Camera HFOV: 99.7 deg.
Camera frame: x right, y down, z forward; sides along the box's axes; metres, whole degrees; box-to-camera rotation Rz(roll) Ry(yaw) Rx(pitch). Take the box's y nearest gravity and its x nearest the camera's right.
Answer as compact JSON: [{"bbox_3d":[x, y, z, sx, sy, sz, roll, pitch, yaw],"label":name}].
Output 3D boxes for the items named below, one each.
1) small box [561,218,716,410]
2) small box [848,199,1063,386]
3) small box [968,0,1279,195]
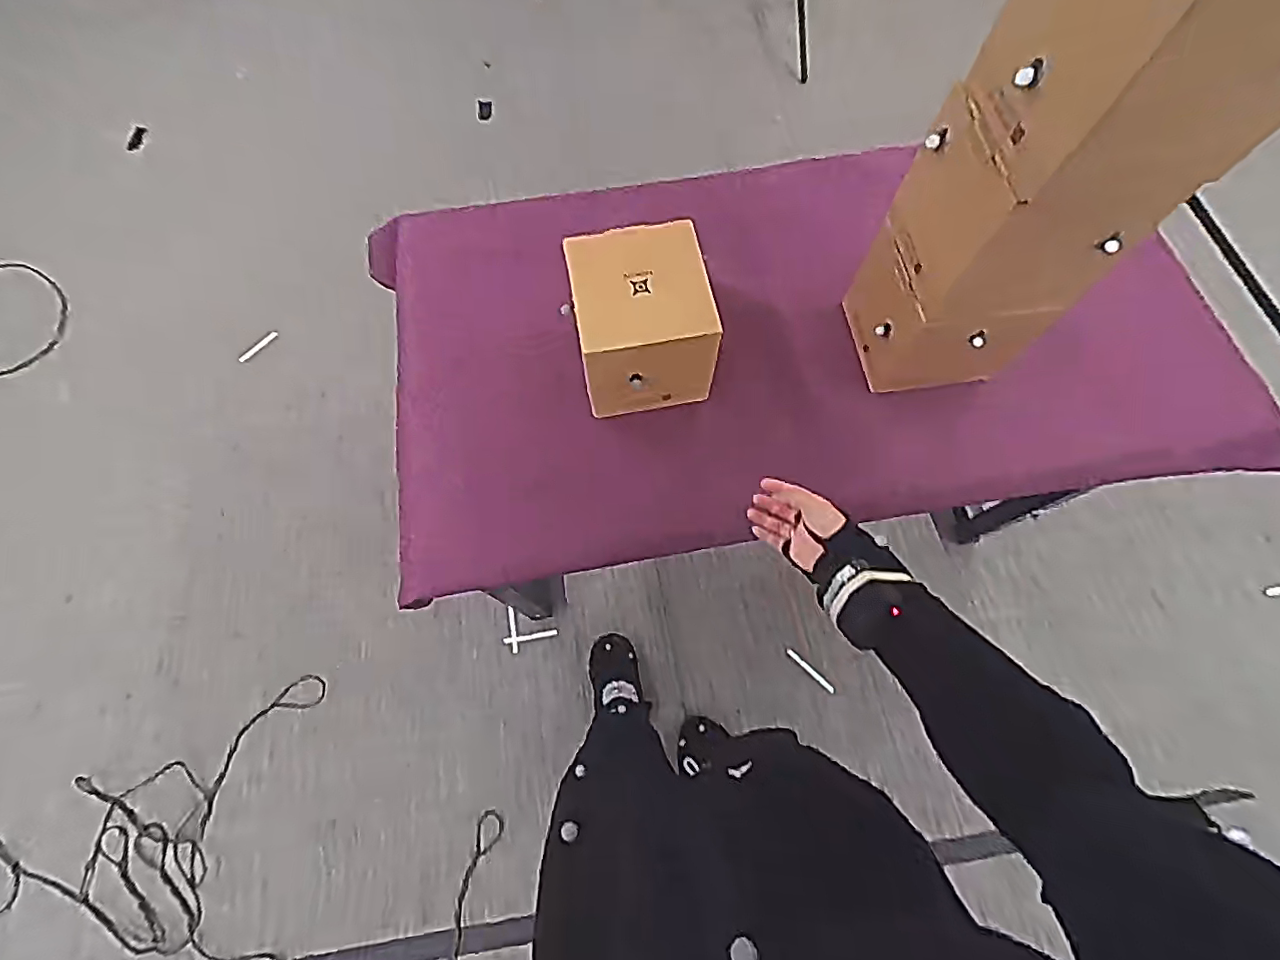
[{"bbox_3d":[-0.002,-0.208,0.724,0.168,0.176,0.179,-11,69,-3],"label":"small box"},{"bbox_3d":[0.400,-0.242,0.729,0.179,0.176,0.168,-7,70,-3],"label":"small box"},{"bbox_3d":[0.405,-0.356,0.420,0.179,0.176,0.168,-8,69,-2],"label":"small box"}]
